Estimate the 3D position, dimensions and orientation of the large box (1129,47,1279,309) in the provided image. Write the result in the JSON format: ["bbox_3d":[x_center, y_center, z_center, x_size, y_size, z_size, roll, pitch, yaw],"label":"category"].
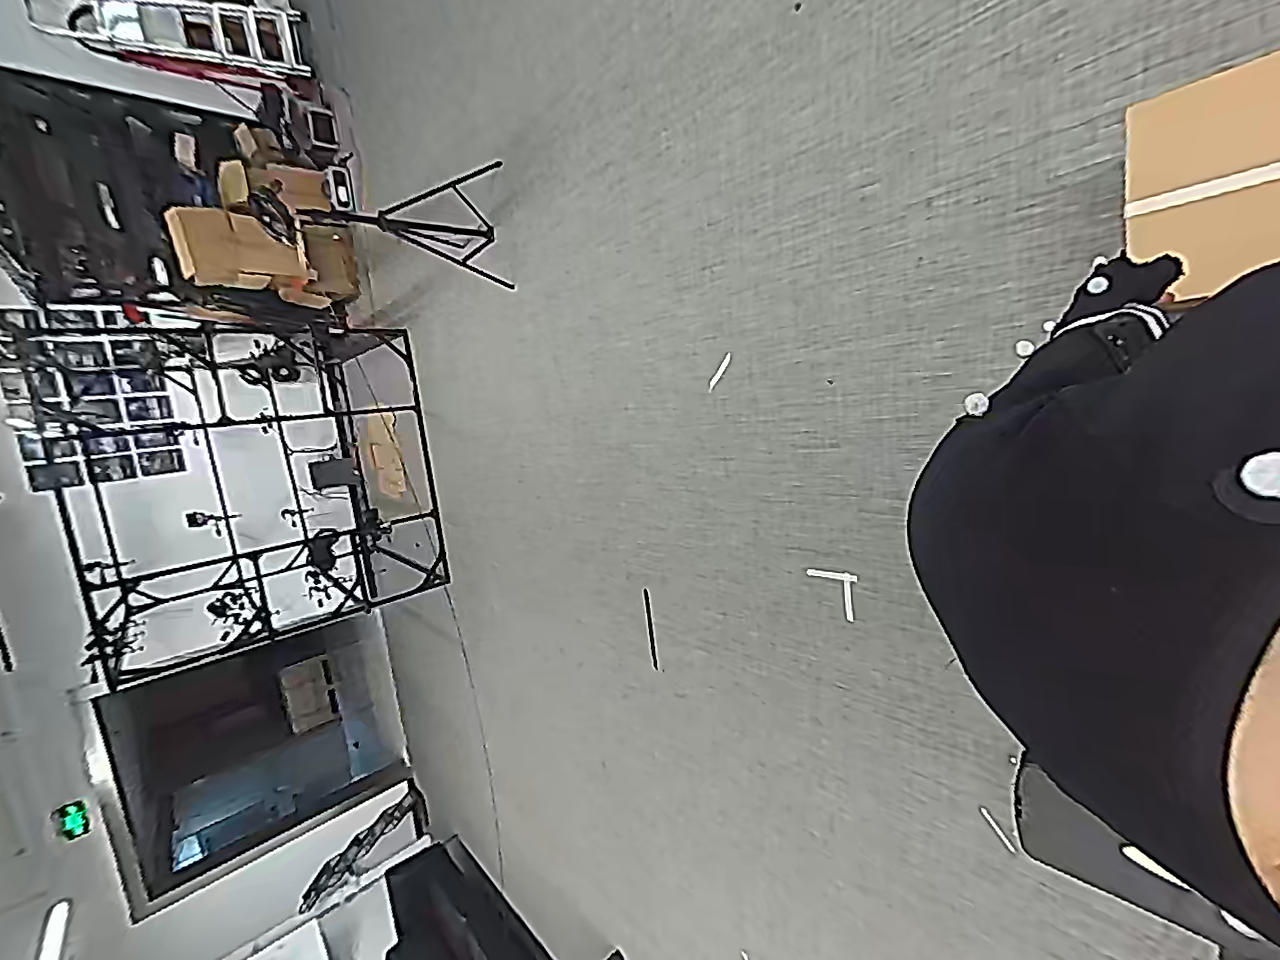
[{"bbox_3d":[1.029,-0.464,0.817,0.408,0.320,0.320,1,101,48],"label":"large box"}]
